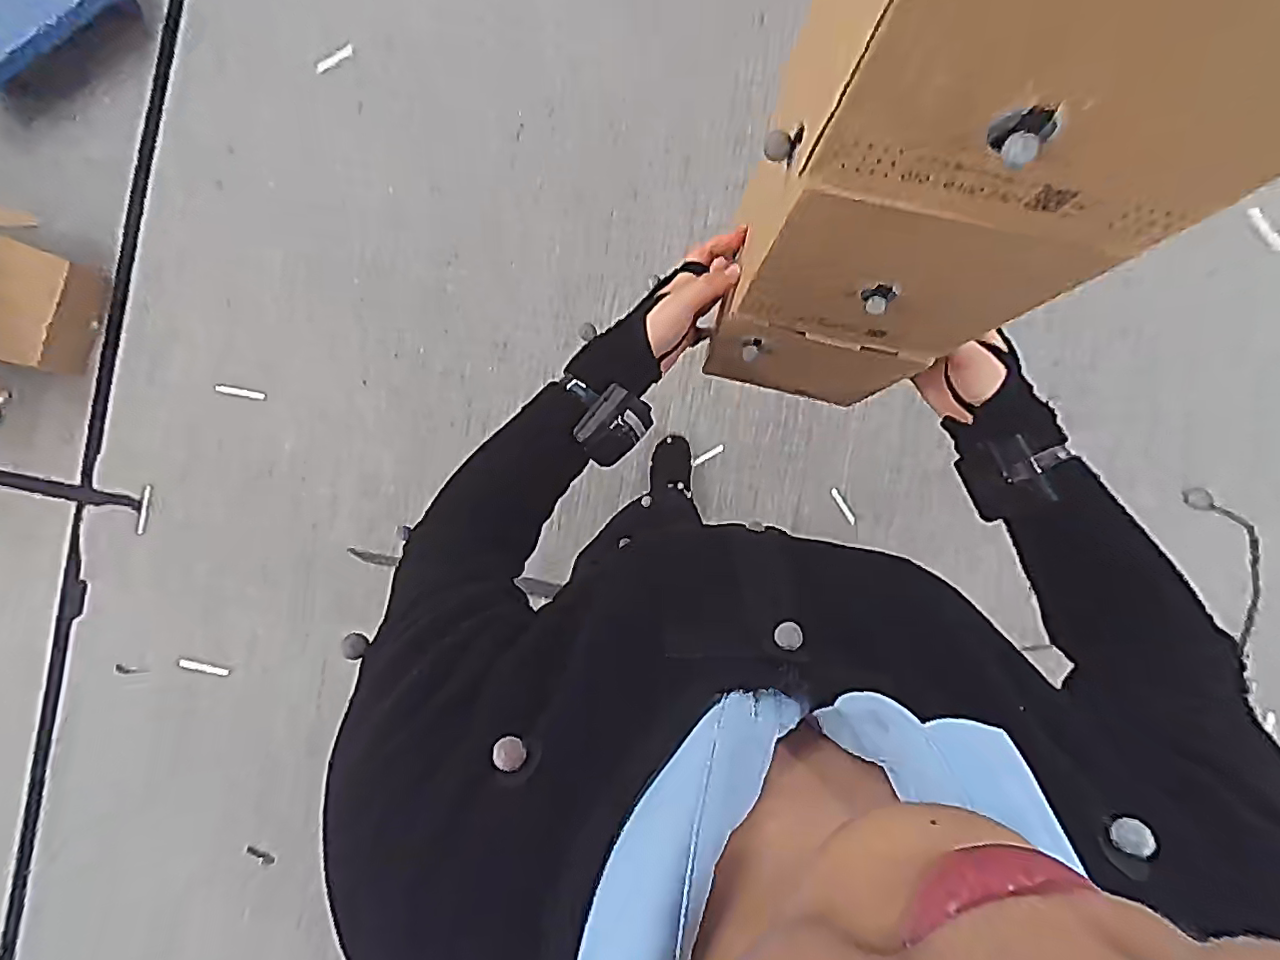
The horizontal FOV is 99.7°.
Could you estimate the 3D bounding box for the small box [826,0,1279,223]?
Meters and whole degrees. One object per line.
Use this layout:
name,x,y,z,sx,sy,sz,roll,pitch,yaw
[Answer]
small box,0.177,-0.222,0.174,0.168,0.176,0.179,11,86,-1

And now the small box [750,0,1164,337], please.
small box,0.176,-0.208,0.336,0.168,0.176,0.179,12,85,-2
